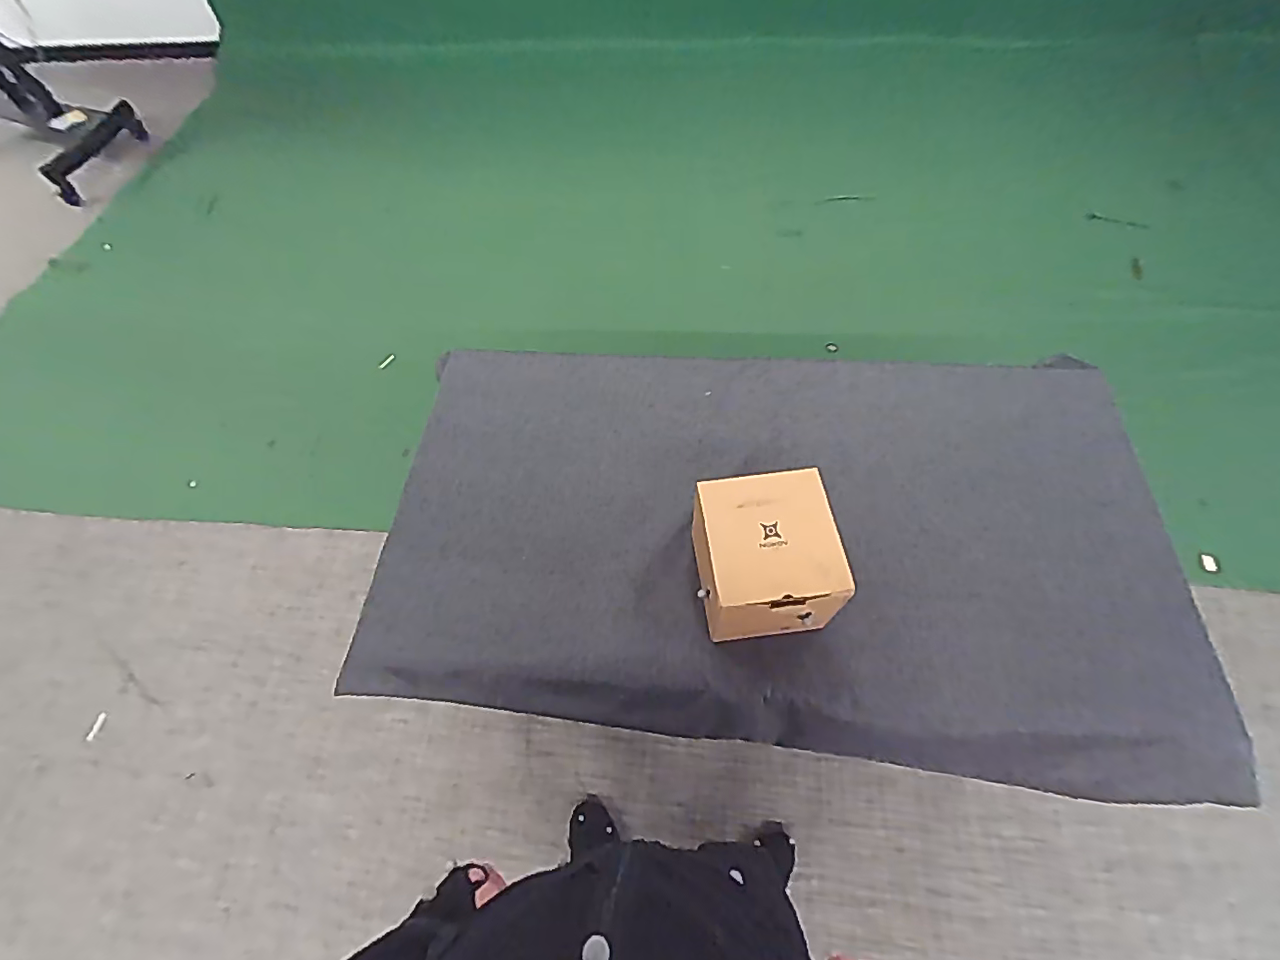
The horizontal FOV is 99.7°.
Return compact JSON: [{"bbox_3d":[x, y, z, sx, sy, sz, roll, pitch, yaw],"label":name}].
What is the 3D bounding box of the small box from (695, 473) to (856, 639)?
[{"bbox_3d":[0.173,0.114,0.754,0.168,0.176,0.179,-7,59,-2],"label":"small box"}]
